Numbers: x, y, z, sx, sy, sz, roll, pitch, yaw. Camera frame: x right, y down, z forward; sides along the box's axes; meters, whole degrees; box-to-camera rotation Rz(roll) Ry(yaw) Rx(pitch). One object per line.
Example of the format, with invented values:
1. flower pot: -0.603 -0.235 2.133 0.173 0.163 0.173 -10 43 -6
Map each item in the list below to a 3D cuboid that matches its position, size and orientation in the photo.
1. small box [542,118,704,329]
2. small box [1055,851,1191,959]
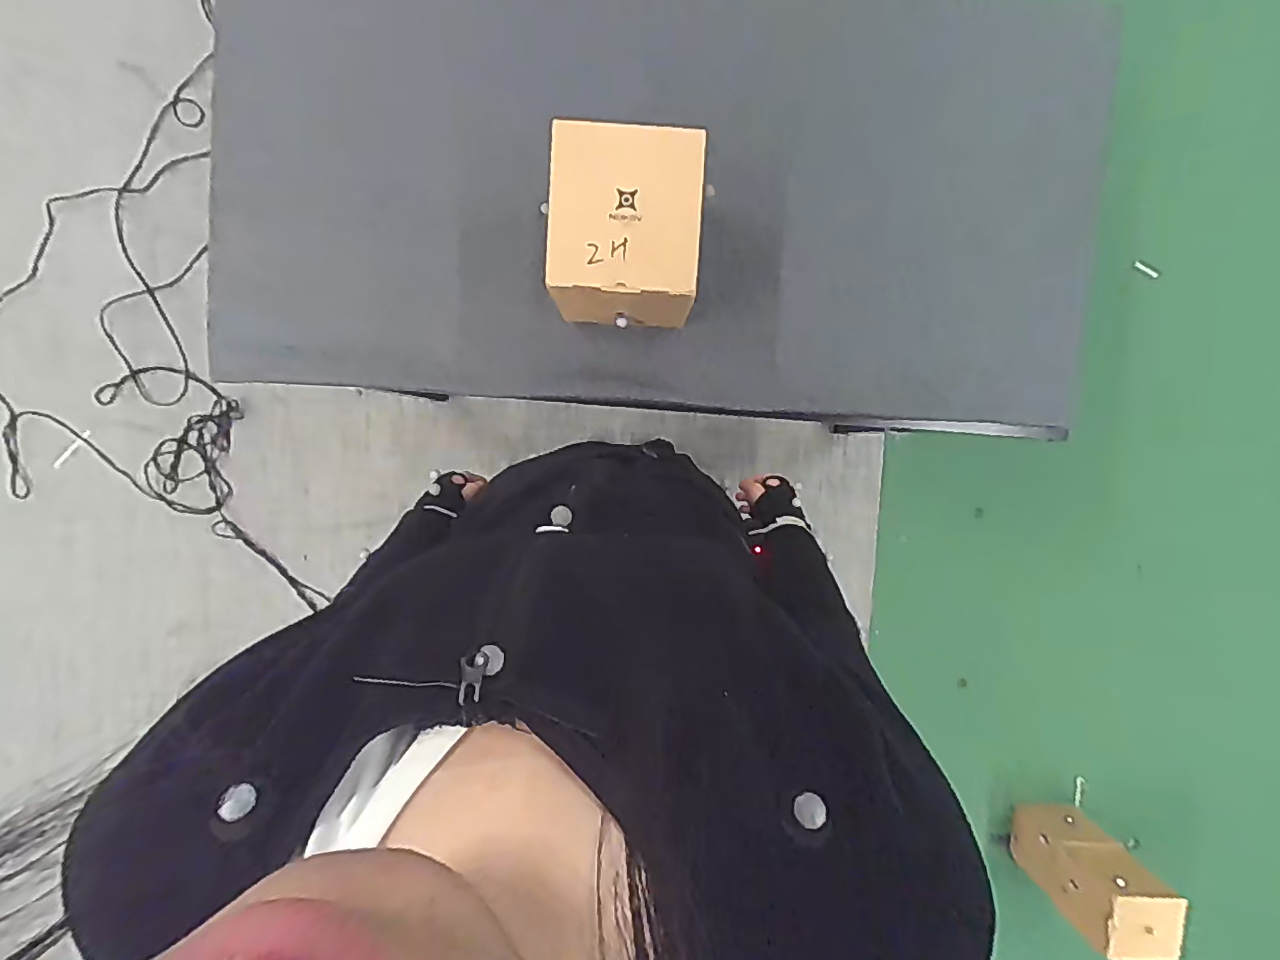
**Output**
1. small box: -0.021 -0.294 0.655 0.168 0.176 0.179 3 93 -1
2. small box: 1.182 1.054 1.333 0.179 0.176 0.168 3 94 -2
